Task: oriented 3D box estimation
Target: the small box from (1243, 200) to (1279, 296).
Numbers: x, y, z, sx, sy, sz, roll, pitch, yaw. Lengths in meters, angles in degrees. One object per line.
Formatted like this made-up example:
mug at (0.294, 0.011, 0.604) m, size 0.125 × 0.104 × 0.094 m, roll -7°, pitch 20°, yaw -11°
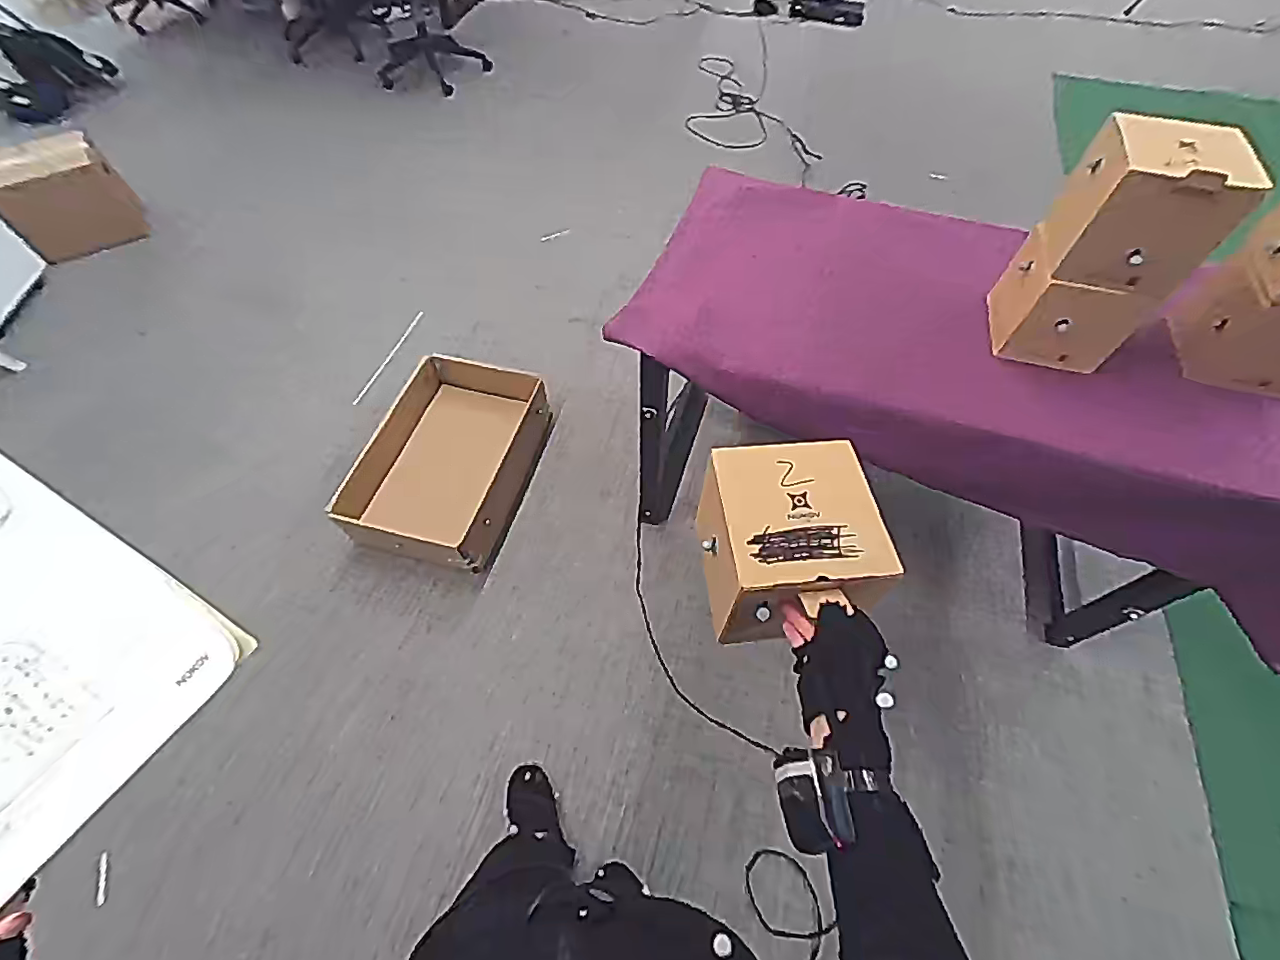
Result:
small box at (1.049, -0.356, 0.776) m, size 0.168 × 0.176 × 0.179 m, roll 16°, pitch 60°, yaw 9°

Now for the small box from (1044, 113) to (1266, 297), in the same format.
small box at (0.743, -0.409, 0.809) m, size 0.168 × 0.176 × 0.179 m, roll 16°, pitch 59°, yaw 10°

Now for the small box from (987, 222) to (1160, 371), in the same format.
small box at (0.738, -0.316, 0.946) m, size 0.168 × 0.176 × 0.179 m, roll 13°, pitch 58°, yaw 8°

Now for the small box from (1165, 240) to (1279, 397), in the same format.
small box at (1.054, -0.268, 0.915) m, size 0.168 × 0.176 × 0.179 m, roll 16°, pitch 59°, yaw 9°
